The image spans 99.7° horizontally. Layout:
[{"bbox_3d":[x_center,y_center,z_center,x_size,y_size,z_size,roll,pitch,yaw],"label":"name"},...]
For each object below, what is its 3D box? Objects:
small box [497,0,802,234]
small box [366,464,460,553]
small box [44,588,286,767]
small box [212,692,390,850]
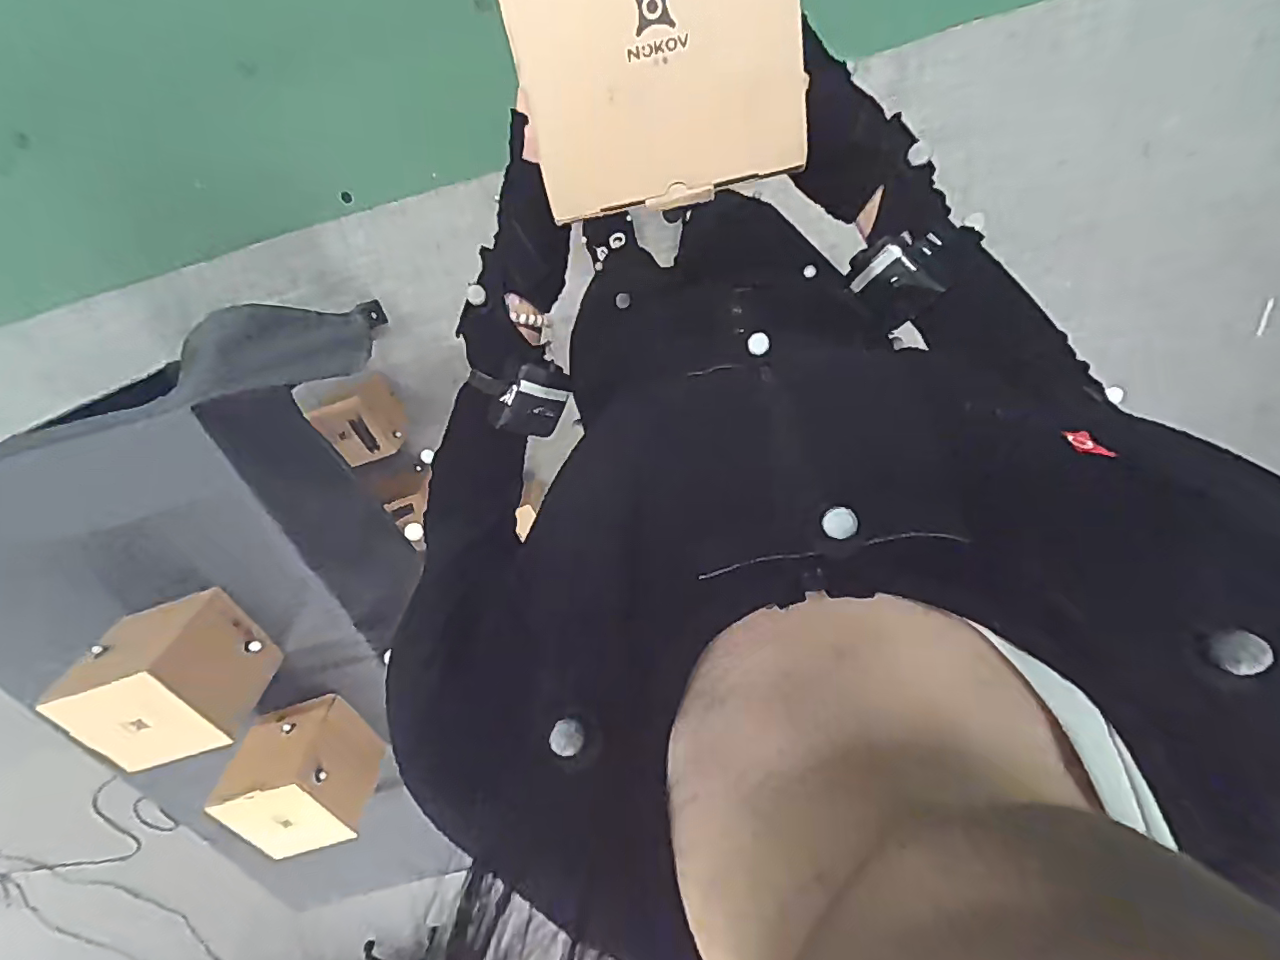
[{"bbox_3d":[0.007,-0.288,0.376,0.168,0.176,0.179,-10,118,5],"label":"small box"},{"bbox_3d":[-0.635,0.072,1.536,0.168,0.176,0.179,-17,122,5],"label":"small box"},{"bbox_3d":[-0.691,0.292,0.815,0.179,0.176,0.168,-17,122,5],"label":"small box"},{"bbox_3d":[-0.580,0.510,0.956,0.168,0.176,0.179,-19,120,7],"label":"small box"}]
